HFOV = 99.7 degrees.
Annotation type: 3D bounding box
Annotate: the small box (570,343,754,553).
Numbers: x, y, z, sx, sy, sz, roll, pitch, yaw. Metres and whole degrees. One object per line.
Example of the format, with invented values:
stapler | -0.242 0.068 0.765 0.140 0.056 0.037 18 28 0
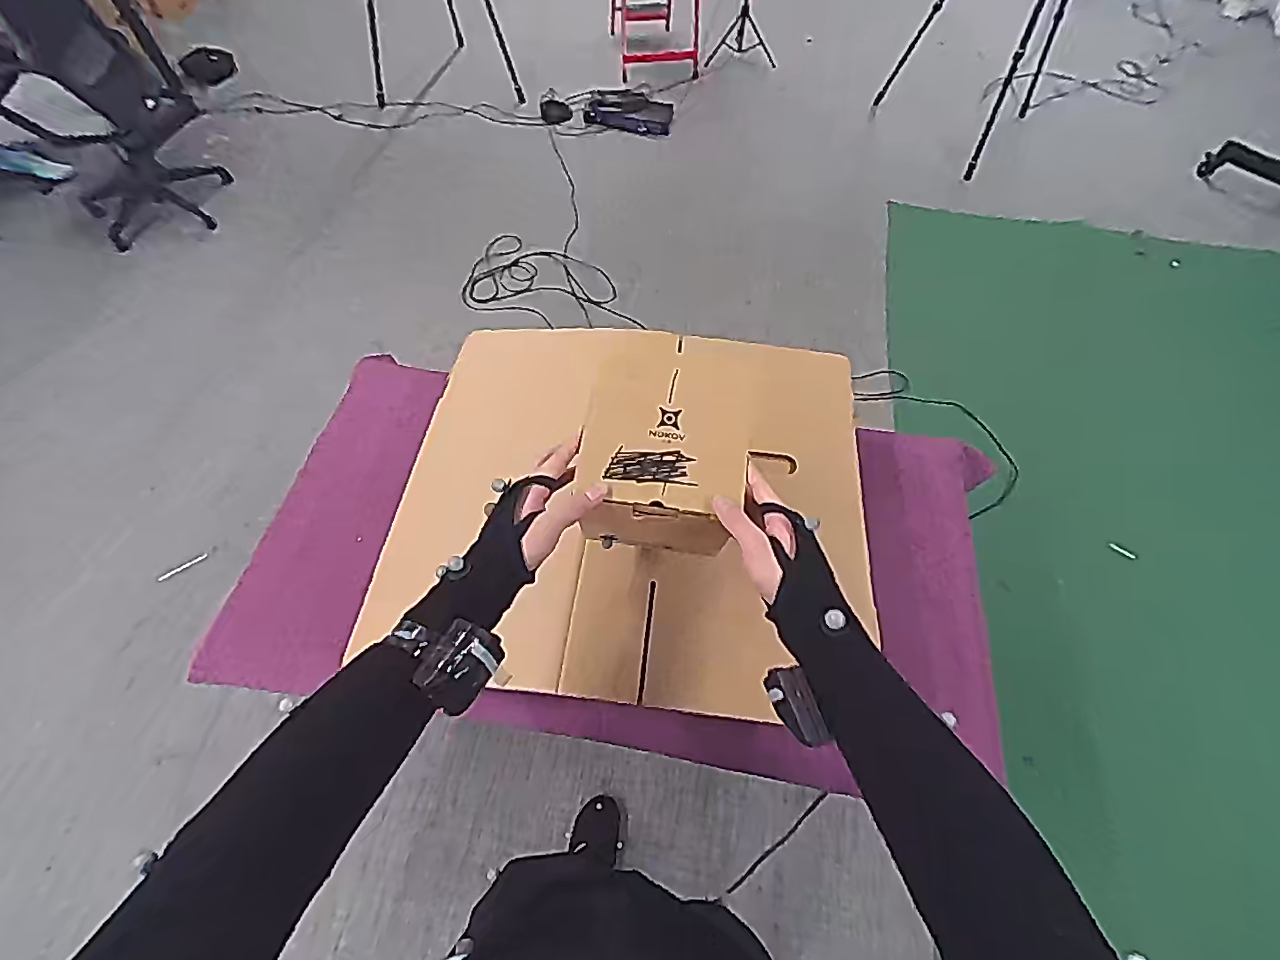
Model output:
small box | 0.026 -0.025 0.612 0.168 0.176 0.179 8 68 2
